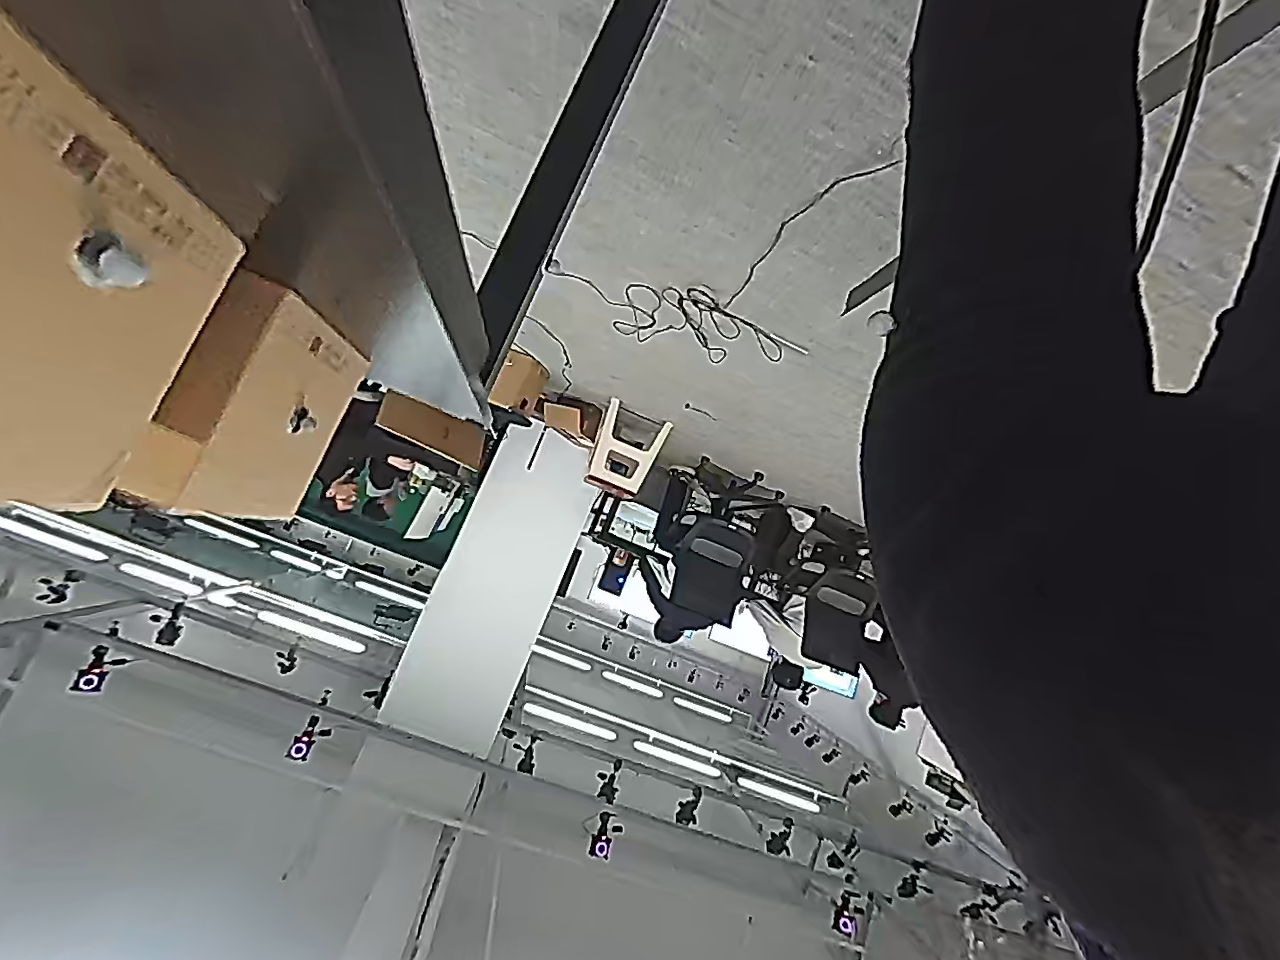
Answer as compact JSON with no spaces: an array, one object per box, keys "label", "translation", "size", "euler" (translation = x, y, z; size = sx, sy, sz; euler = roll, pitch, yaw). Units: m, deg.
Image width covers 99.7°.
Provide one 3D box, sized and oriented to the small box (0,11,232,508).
[{"label":"small box","translation":[-0.321,-0.100,0.211],"size":[0.179,0.176,0.168],"euler":[23,172,-8]}]
